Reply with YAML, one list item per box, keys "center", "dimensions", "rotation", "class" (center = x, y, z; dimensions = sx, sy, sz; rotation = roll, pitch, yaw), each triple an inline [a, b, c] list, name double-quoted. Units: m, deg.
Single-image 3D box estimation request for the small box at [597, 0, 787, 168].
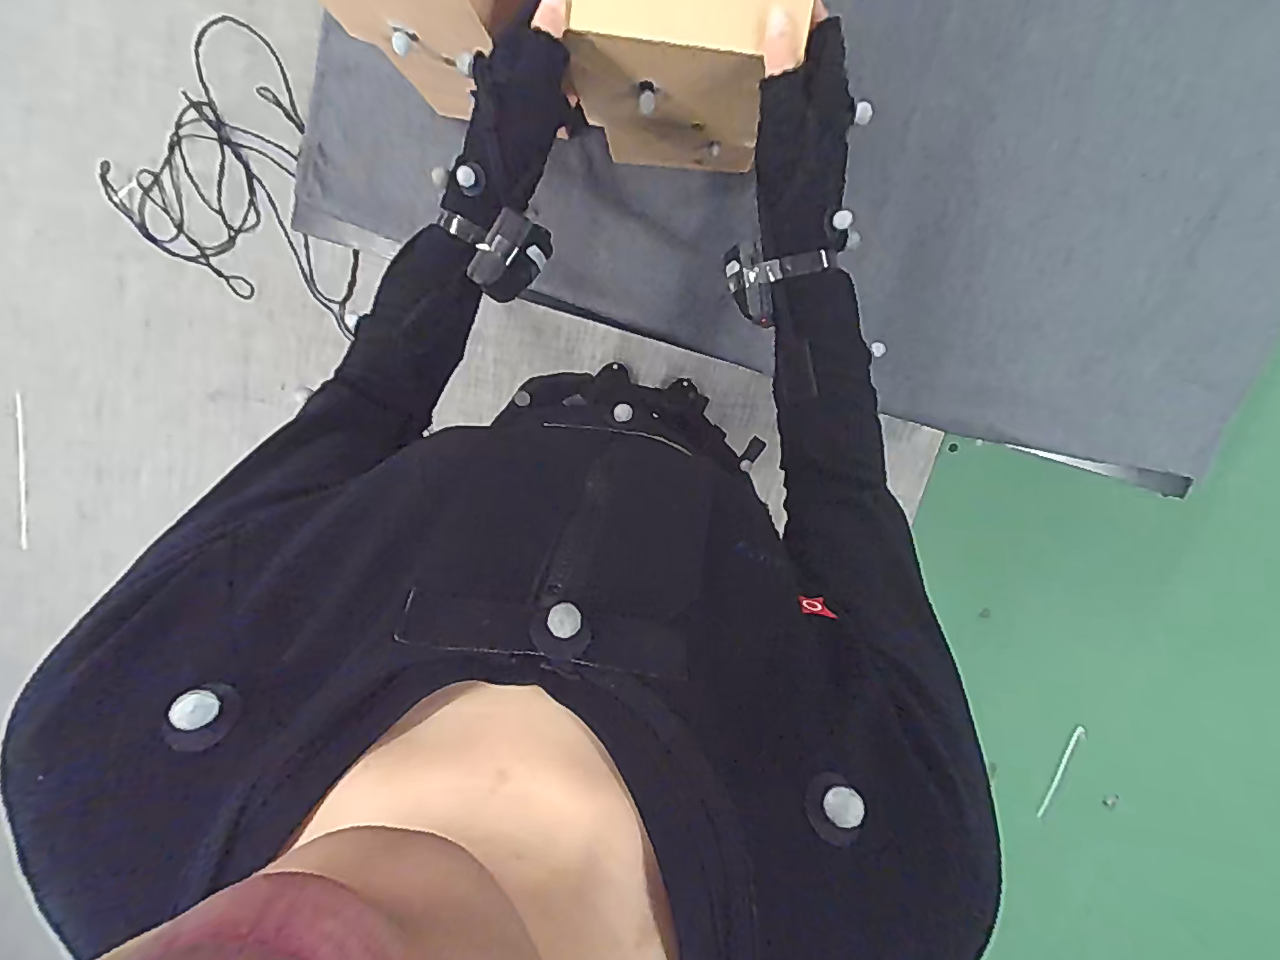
- center: [0.053, -0.447, 0.557]
  dimensions: [0.168, 0.176, 0.179]
  rotation: [6, 102, 1]
  class: "small box"
